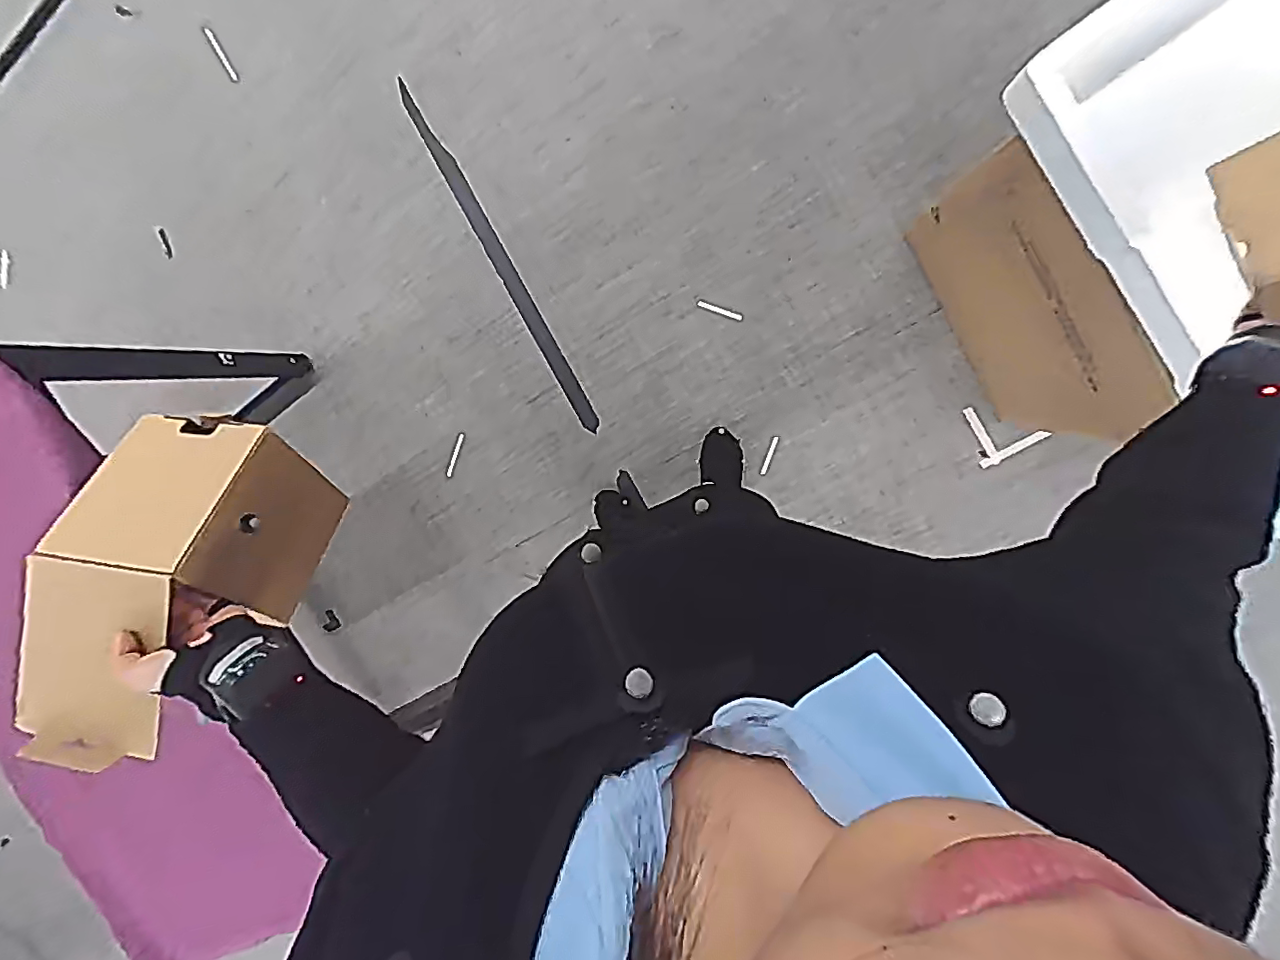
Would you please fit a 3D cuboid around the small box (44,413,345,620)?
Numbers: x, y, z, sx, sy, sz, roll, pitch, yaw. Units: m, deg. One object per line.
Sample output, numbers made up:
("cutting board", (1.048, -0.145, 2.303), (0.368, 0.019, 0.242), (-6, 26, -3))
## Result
("small box", (-0.483, 0.048, 0.624), (0.168, 0.176, 0.179), (7, 59, 10))
